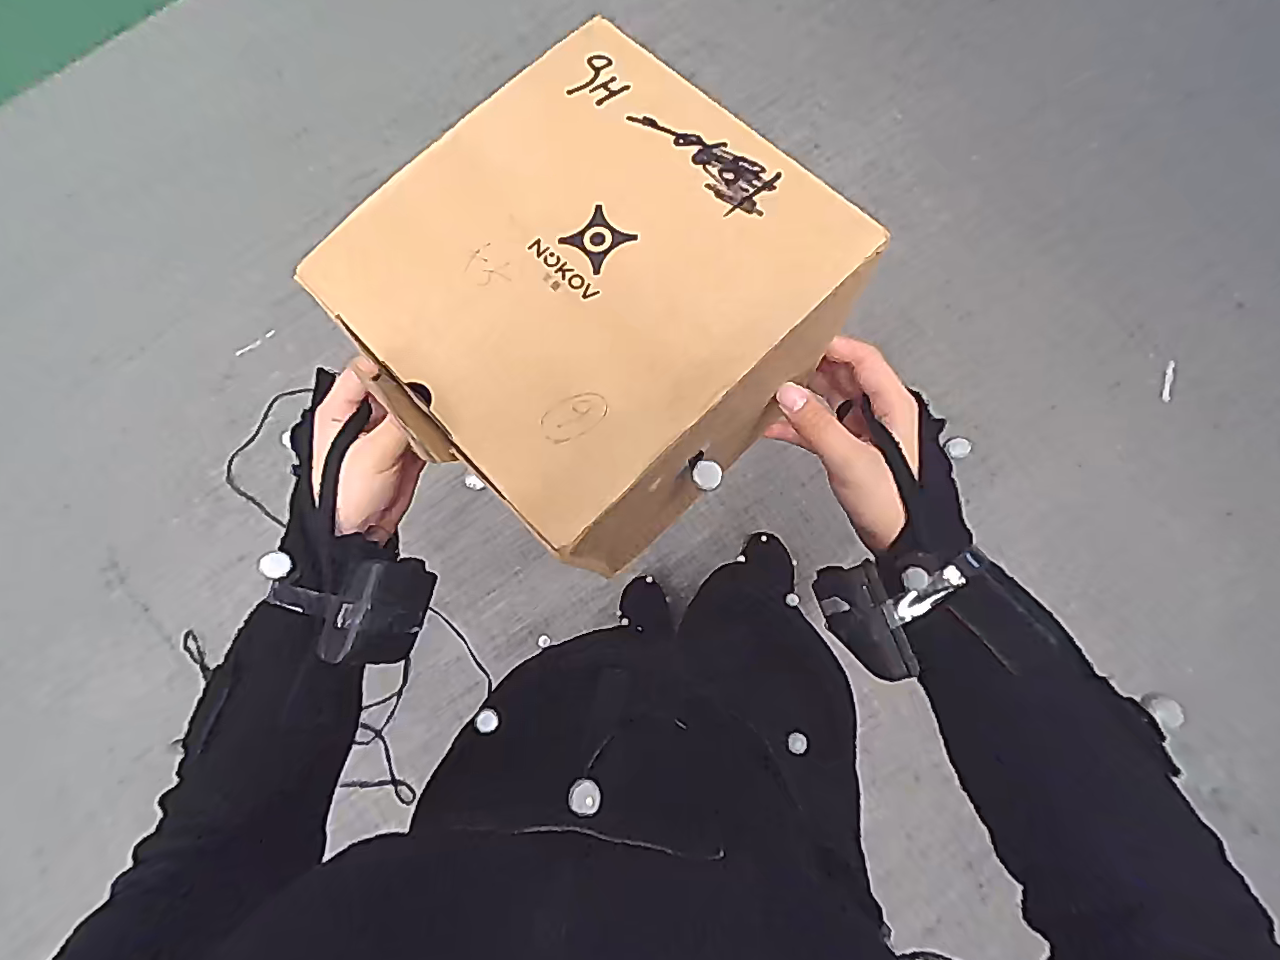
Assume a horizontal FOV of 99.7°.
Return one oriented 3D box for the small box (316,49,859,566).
[{"bbox_3d":[-0.019,-0.068,0.303,0.168,0.176,0.179,44,84,12],"label":"small box"}]
